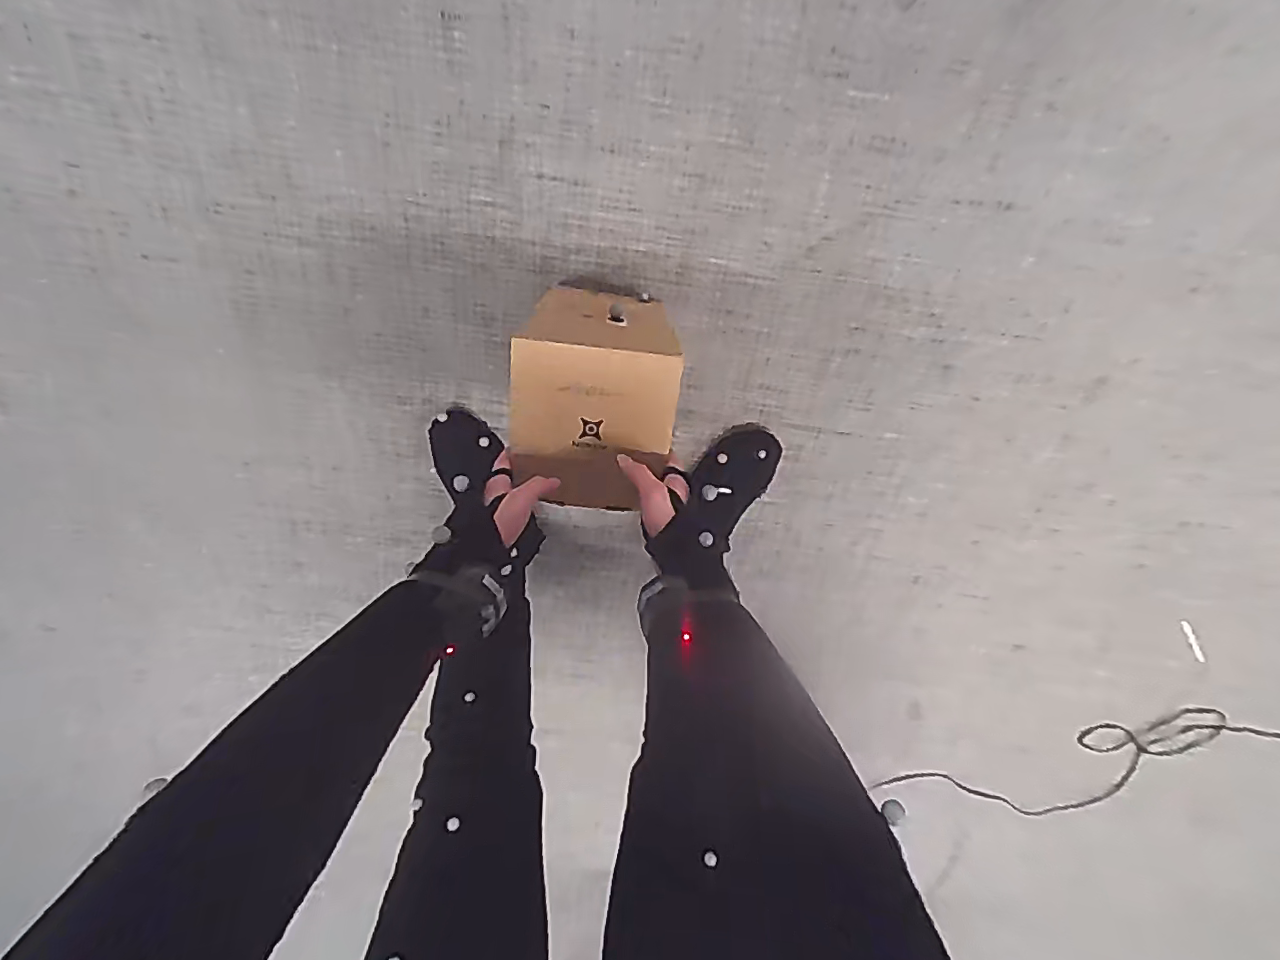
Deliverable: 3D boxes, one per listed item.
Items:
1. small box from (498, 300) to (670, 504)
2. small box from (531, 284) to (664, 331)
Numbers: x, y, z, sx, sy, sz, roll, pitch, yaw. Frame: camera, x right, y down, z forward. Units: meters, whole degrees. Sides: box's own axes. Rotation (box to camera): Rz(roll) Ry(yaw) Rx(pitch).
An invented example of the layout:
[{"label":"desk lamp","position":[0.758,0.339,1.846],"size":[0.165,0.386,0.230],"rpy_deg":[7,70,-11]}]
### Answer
[{"label":"small box","position":[-0.060,-0.094,0.614],"size":[0.168,0.176,0.179],"rpy_deg":[5,117,-3]},{"label":"small box","position":[-0.063,-0.168,0.759],"size":[0.168,0.176,0.179],"rpy_deg":[8,118,-3]}]
